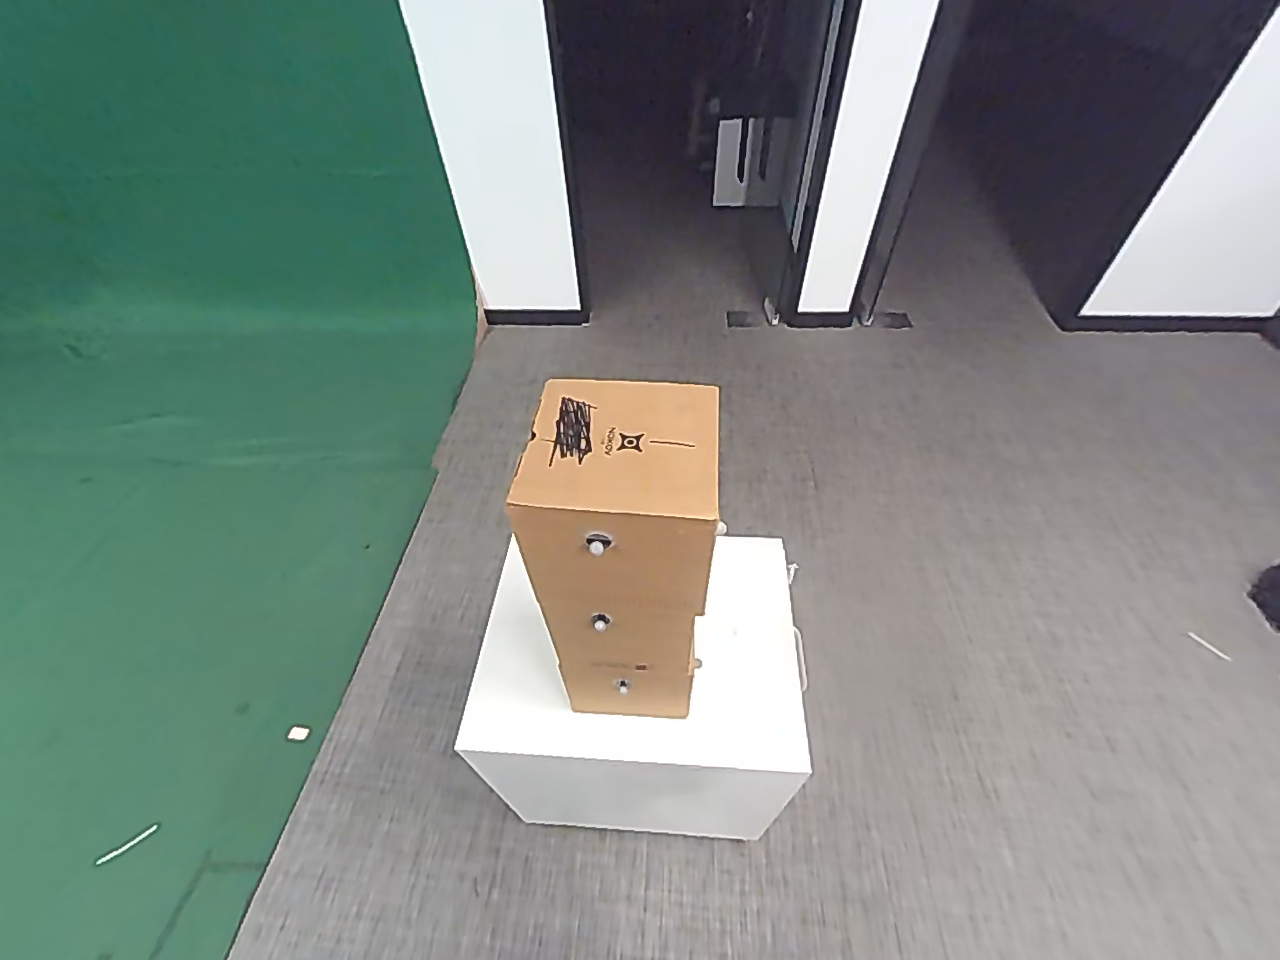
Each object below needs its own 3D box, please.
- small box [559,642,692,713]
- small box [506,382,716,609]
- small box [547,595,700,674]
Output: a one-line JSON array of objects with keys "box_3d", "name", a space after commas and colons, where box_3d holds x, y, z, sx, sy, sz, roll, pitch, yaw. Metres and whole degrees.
[{"box_3d": [-0.012, 0.234, 0.804, 0.179, 0.176, 0.168, 2, 49, 3], "name": "small box"}, {"box_3d": [-0.016, 0.018, 0.557, 0.179, 0.176, 0.168, 4, 49, 5], "name": "small box"}, {"box_3d": [-0.014, 0.125, 0.685, 0.168, 0.176, 0.179, 2, 49, 2], "name": "small box"}]
